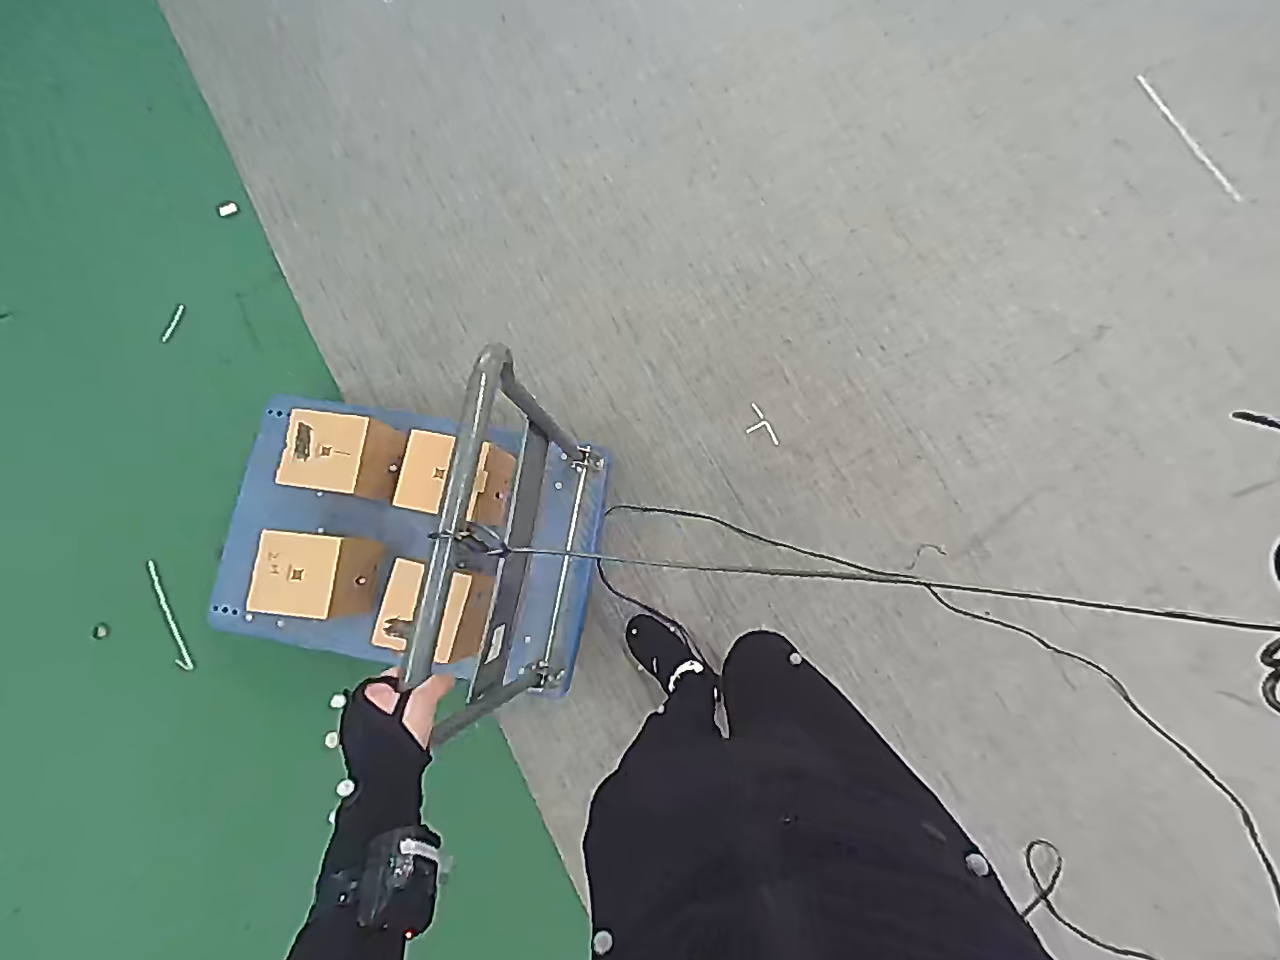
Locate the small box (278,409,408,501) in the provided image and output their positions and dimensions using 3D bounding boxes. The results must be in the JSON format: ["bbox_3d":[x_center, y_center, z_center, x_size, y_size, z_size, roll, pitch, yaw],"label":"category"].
[{"bbox_3d":[-0.655,-0.049,1.212,0.179,0.176,0.168,7,82,4],"label":"small box"}]

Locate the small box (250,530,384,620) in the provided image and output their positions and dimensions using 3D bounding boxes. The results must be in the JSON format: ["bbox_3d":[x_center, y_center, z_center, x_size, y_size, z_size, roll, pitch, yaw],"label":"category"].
[{"bbox_3d":[-0.689,0.203,1.174,0.179,0.176,0.168,5,80,5],"label":"small box"}]

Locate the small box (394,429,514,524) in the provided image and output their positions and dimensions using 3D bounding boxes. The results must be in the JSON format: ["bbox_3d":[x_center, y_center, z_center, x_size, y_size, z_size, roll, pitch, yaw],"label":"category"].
[{"bbox_3d":[-0.399,0.000,1.186,0.179,0.176,0.168,10,81,5],"label":"small box"}]
